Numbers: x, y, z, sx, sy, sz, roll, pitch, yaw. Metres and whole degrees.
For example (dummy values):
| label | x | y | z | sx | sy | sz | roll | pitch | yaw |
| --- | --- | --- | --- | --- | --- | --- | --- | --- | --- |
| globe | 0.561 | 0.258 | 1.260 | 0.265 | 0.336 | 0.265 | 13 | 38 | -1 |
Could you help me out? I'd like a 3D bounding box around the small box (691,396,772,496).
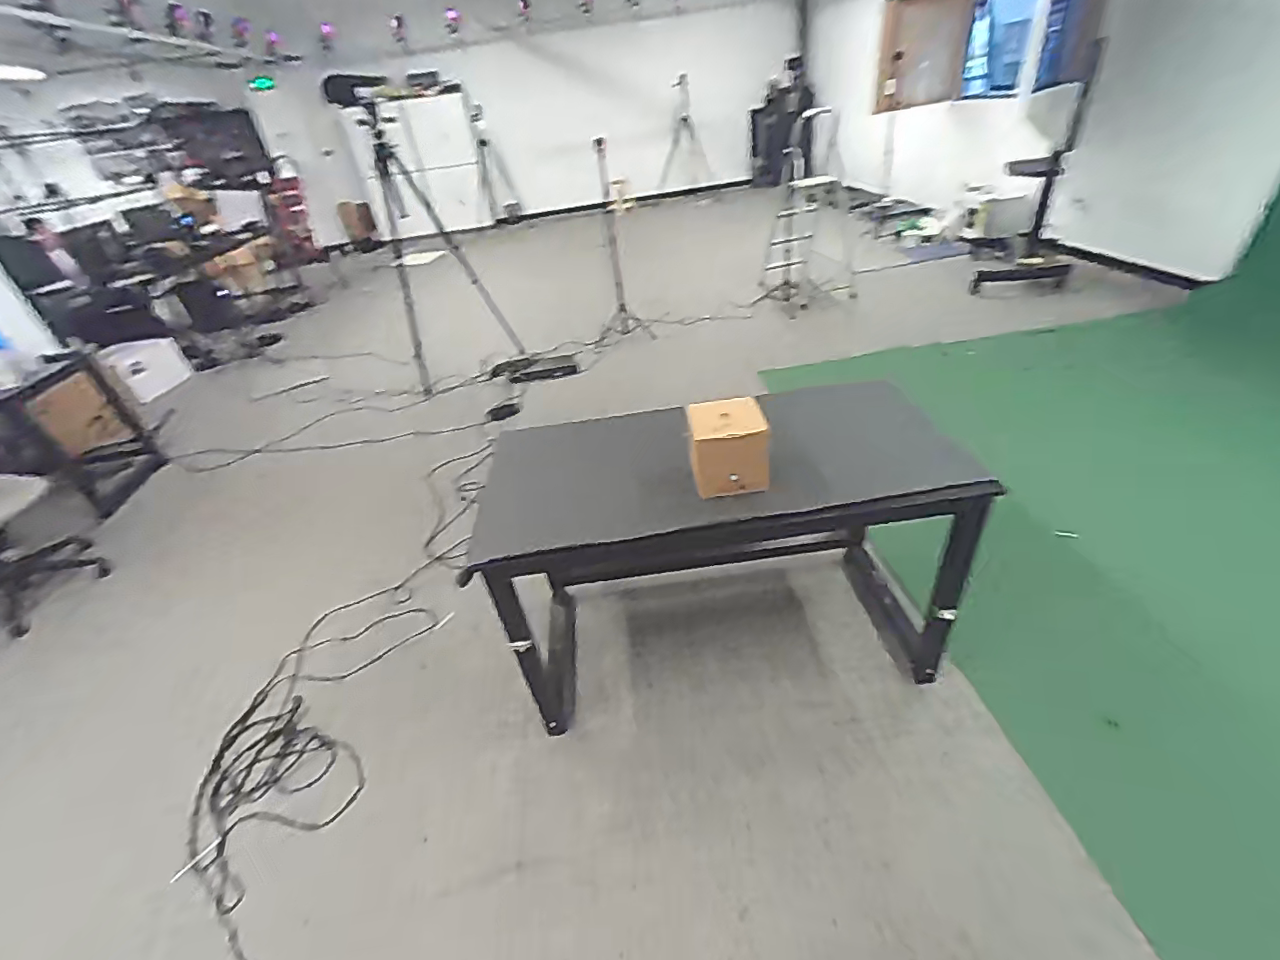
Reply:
| label | x | y | z | sx | sy | sz | roll | pitch | yaw |
| --- | --- | --- | --- | --- | --- | --- | --- | --- | --- |
| small box | 0.218 | -0.082 | 1.309 | 0.168 | 0.176 | 0.179 | -8 | 35 | 2 |
